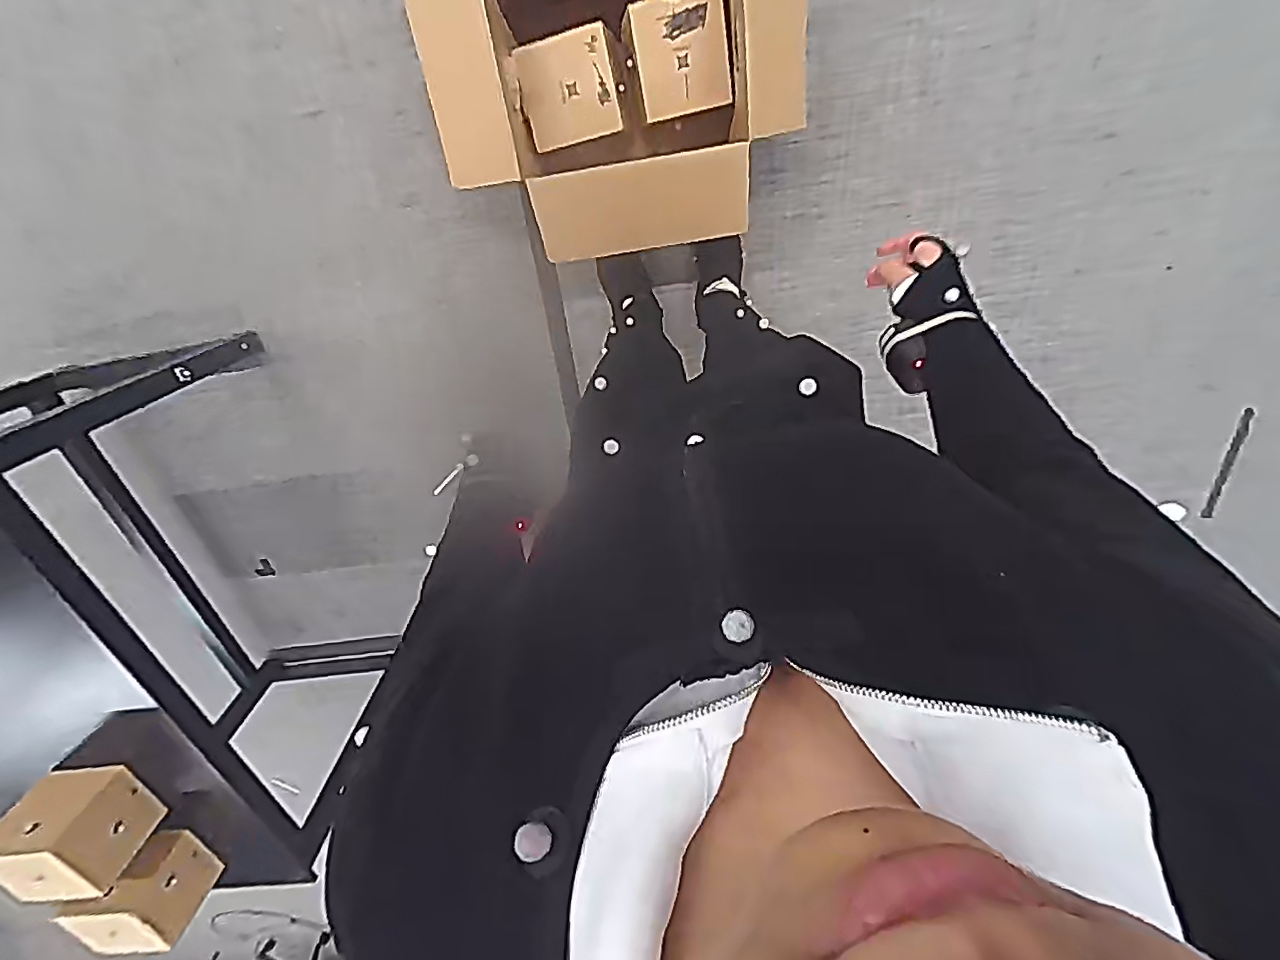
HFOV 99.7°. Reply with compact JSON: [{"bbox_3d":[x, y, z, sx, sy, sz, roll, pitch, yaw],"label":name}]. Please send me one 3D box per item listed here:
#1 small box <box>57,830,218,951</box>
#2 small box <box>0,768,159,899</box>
[{"bbox_3d":[-1.100,0.911,1.209,0.179,0.176,0.168,-7,118,6],"label":"small box"},{"bbox_3d":[-1.135,0.706,1.090,0.179,0.176,0.168,-7,119,5],"label":"small box"}]
